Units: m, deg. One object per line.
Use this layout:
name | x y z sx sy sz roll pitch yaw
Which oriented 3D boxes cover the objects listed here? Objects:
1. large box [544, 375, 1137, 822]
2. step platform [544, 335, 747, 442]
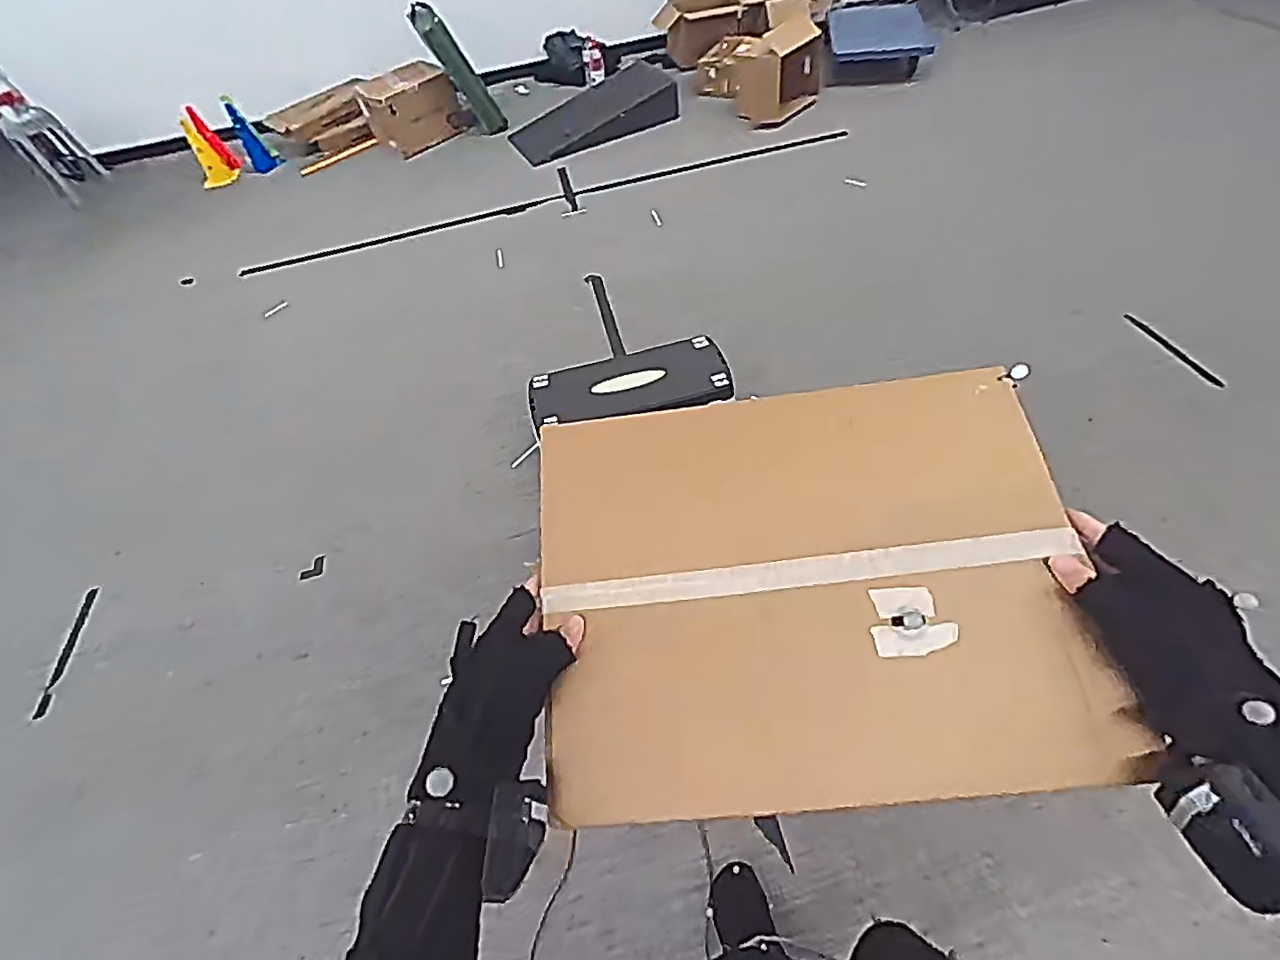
large box | 0.138 0.131 0.566 0.408 0.320 0.320 -8 68 4
step platform | 0.015 -0.276 1.864 0.684 0.204 0.286 -15 54 -4
